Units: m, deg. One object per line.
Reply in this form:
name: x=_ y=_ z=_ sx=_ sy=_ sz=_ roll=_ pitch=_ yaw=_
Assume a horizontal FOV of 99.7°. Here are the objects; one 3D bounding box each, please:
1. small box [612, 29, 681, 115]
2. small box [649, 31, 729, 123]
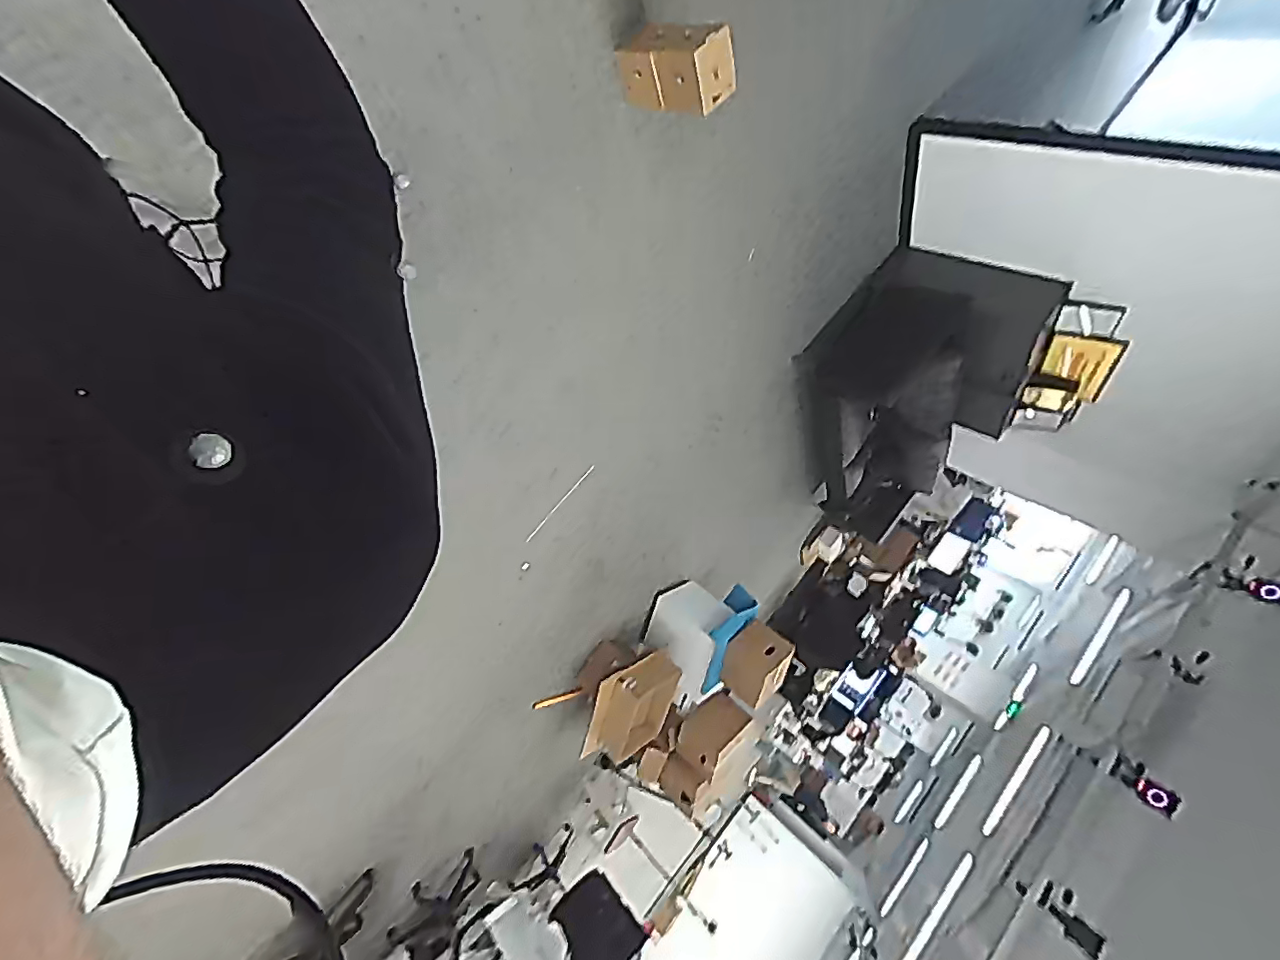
small box: x=0.029 y=-1.312 z=1.738 sx=0.179 sy=0.176 sz=0.168 roll=-48 pitch=147 yaw=-14
small box: x=0.149 y=-1.234 z=1.656 sx=0.168 sy=0.176 sz=0.179 roll=-46 pitch=146 yaw=-15
